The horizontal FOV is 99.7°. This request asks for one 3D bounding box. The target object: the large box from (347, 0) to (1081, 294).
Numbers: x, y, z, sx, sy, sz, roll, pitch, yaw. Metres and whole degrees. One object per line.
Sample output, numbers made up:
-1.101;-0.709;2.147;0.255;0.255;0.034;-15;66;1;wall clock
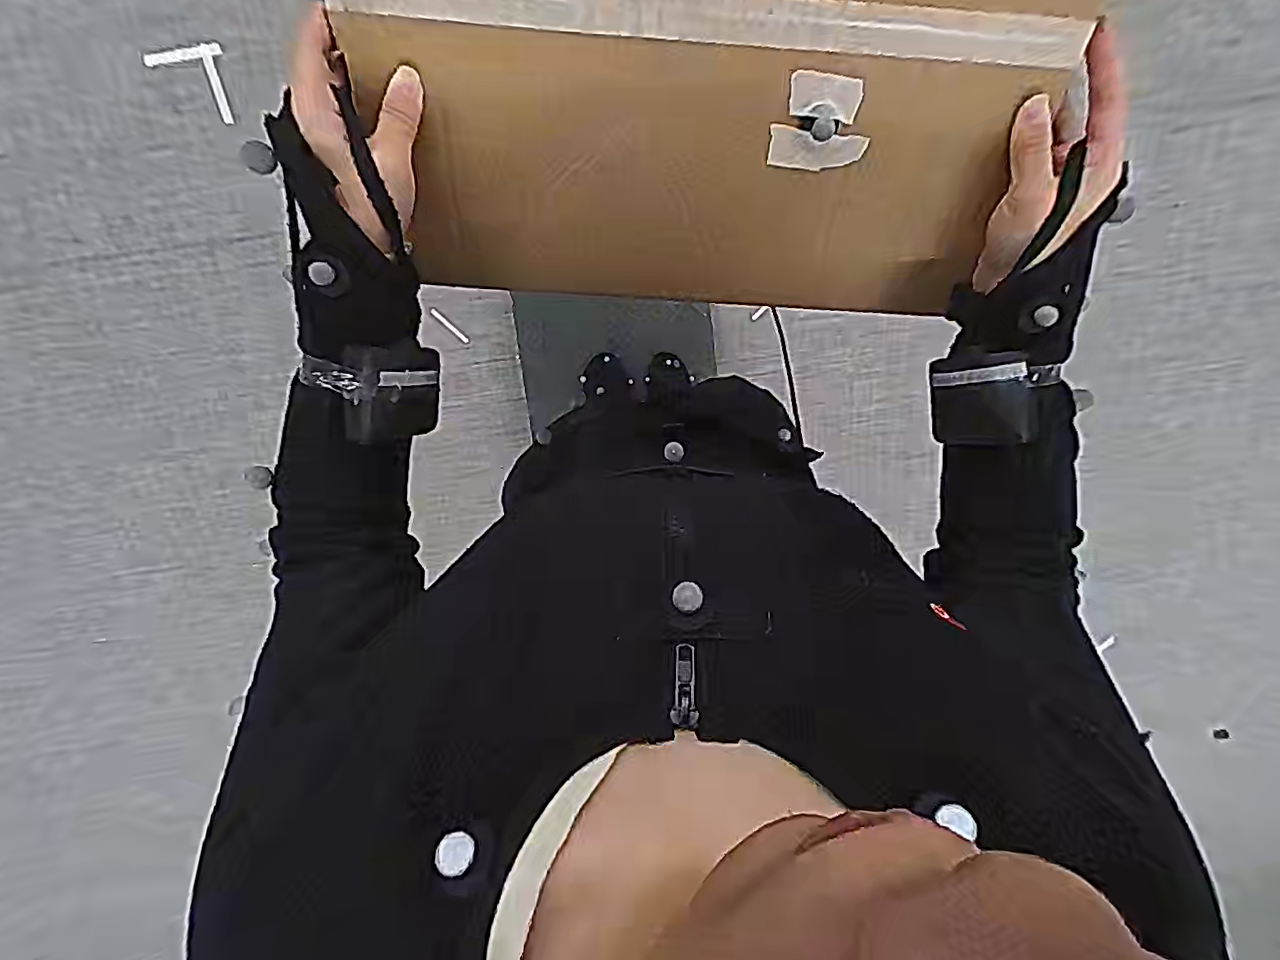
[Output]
0.036;-0.353;0.406;0.408;0.320;0.320;2;131;-3;large box
